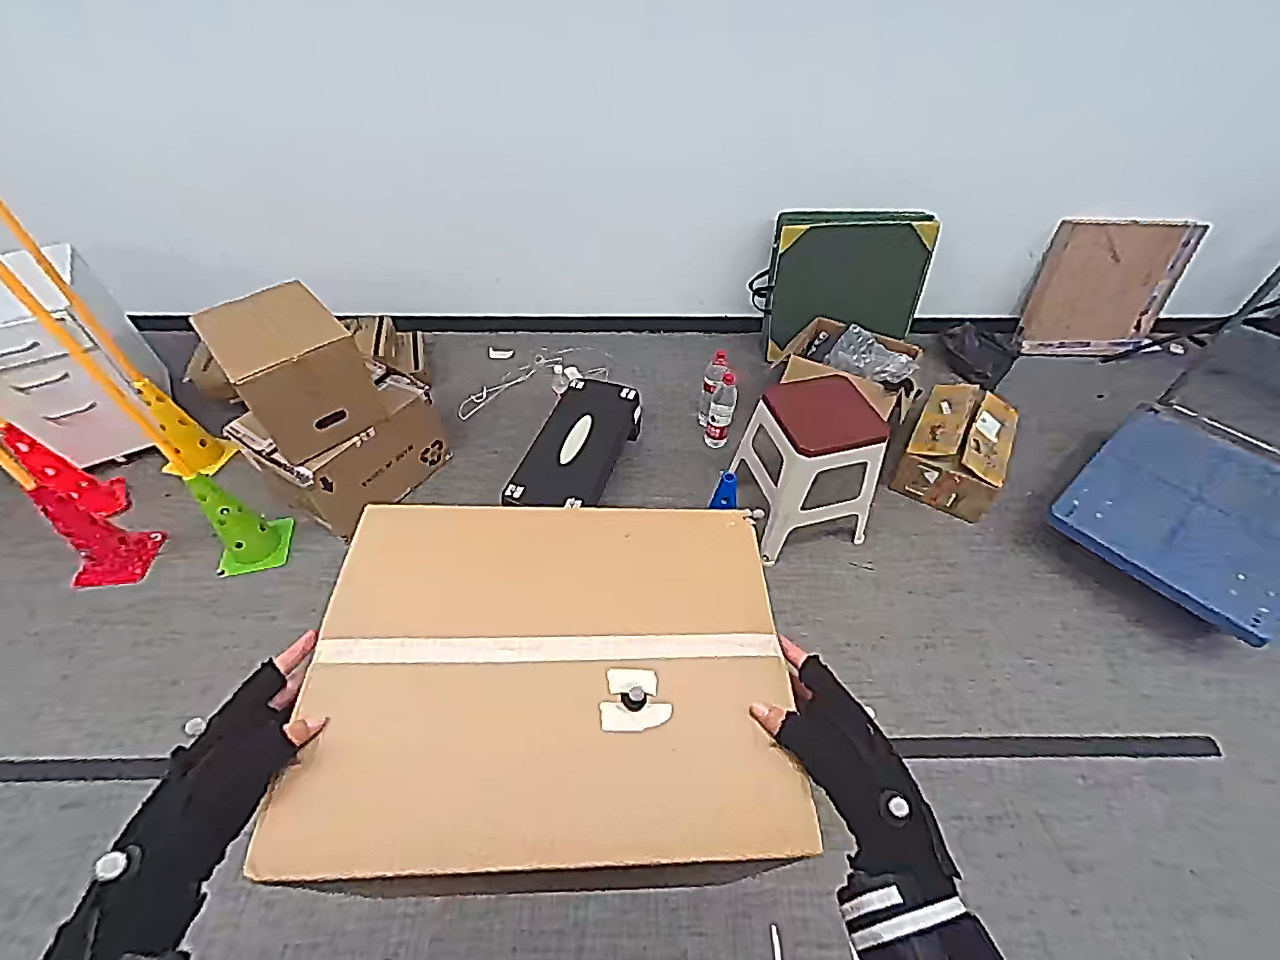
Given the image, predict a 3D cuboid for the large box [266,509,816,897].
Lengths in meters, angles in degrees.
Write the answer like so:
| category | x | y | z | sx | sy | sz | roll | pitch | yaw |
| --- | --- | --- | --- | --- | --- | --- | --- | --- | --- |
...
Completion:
| category | x | y | z | sx | sy | sz | roll | pitch | yaw |
| --- | --- | --- | --- | --- | --- | --- | --- | --- | --- |
| large box | -0.084 | 0.246 | 0.596 | 0.408 | 0.320 | 0.320 | 2 | 51 | -6 |
